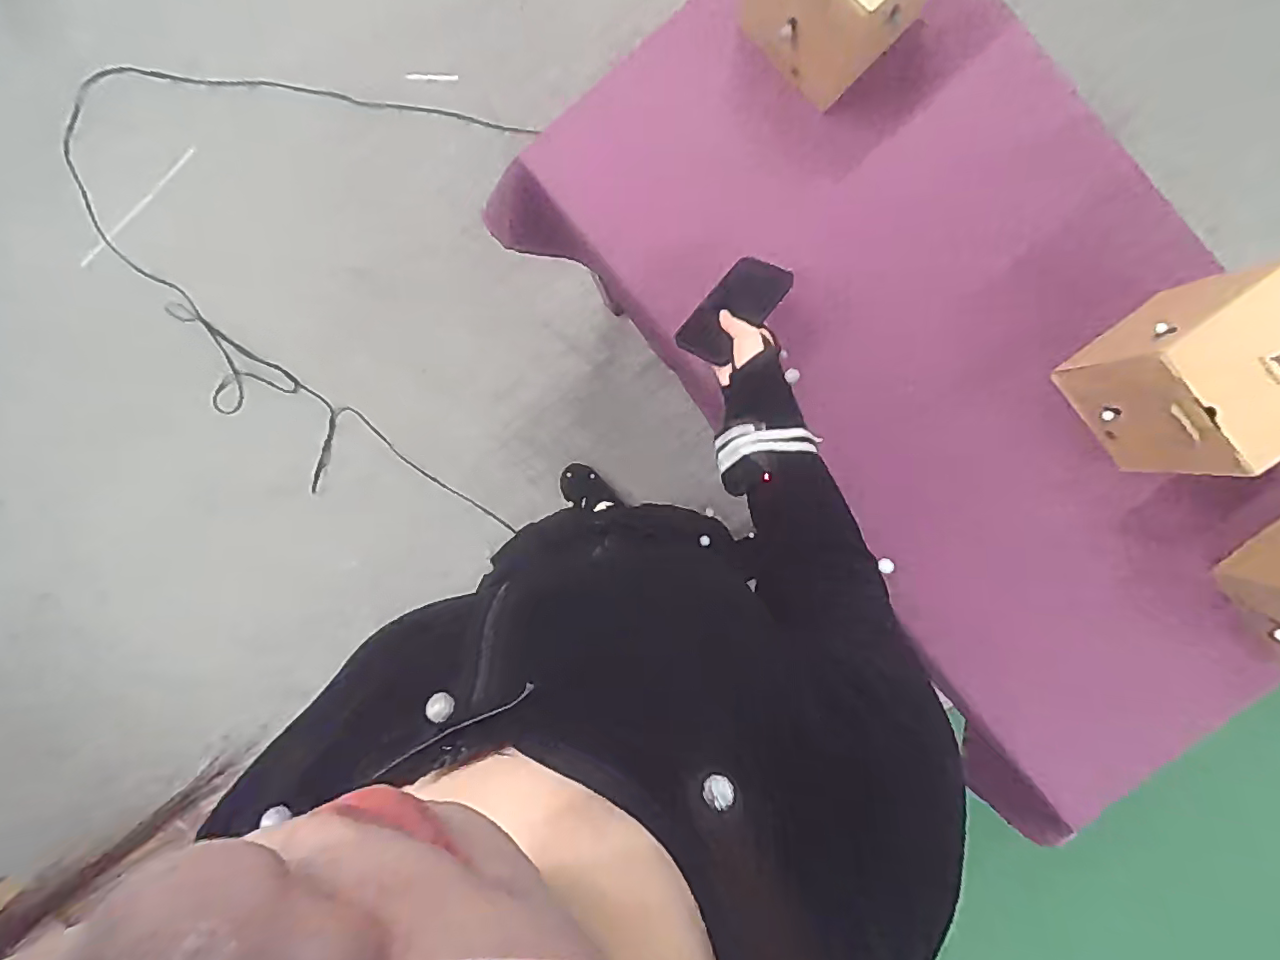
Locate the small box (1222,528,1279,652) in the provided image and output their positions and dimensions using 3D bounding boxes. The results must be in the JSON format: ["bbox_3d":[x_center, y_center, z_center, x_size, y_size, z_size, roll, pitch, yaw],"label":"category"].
[{"bbox_3d":[0.871,0.131,0.628,0.179,0.176,0.168,-40,90,6],"label":"small box"}]

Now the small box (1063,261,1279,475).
[{"bbox_3d":[0.662,-0.127,0.628,0.179,0.176,0.168,-38,91,6],"label":"small box"}]

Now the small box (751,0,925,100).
[{"bbox_3d":[0.244,-0.597,0.621,0.179,0.176,0.168,-45,91,6],"label":"small box"}]
